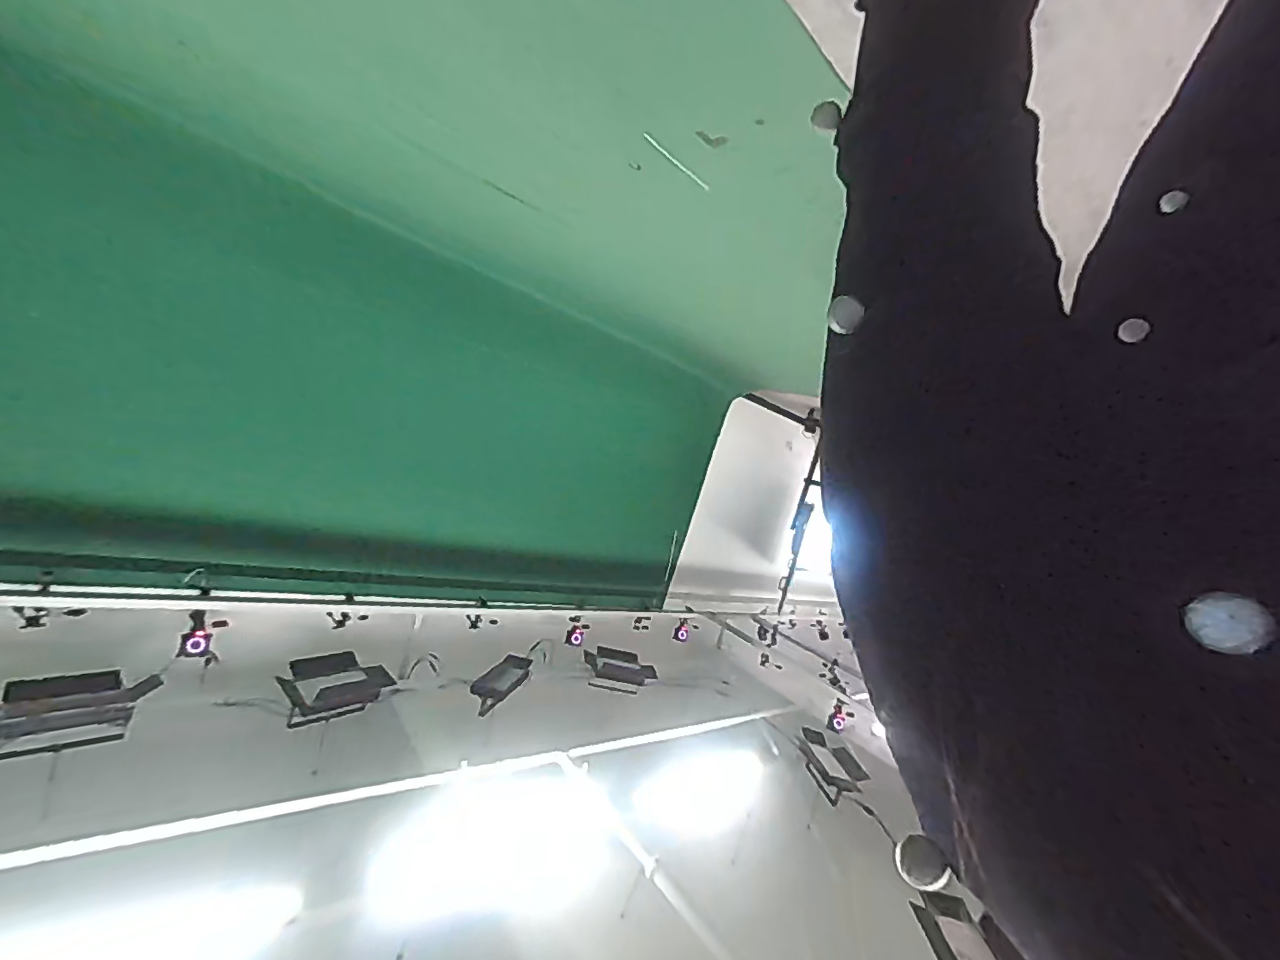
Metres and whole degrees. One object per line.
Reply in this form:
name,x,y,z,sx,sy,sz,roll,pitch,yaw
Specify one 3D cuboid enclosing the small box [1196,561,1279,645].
small box,1.662,0.333,1.457,0.179,0.176,0.168,16,-176,-32
